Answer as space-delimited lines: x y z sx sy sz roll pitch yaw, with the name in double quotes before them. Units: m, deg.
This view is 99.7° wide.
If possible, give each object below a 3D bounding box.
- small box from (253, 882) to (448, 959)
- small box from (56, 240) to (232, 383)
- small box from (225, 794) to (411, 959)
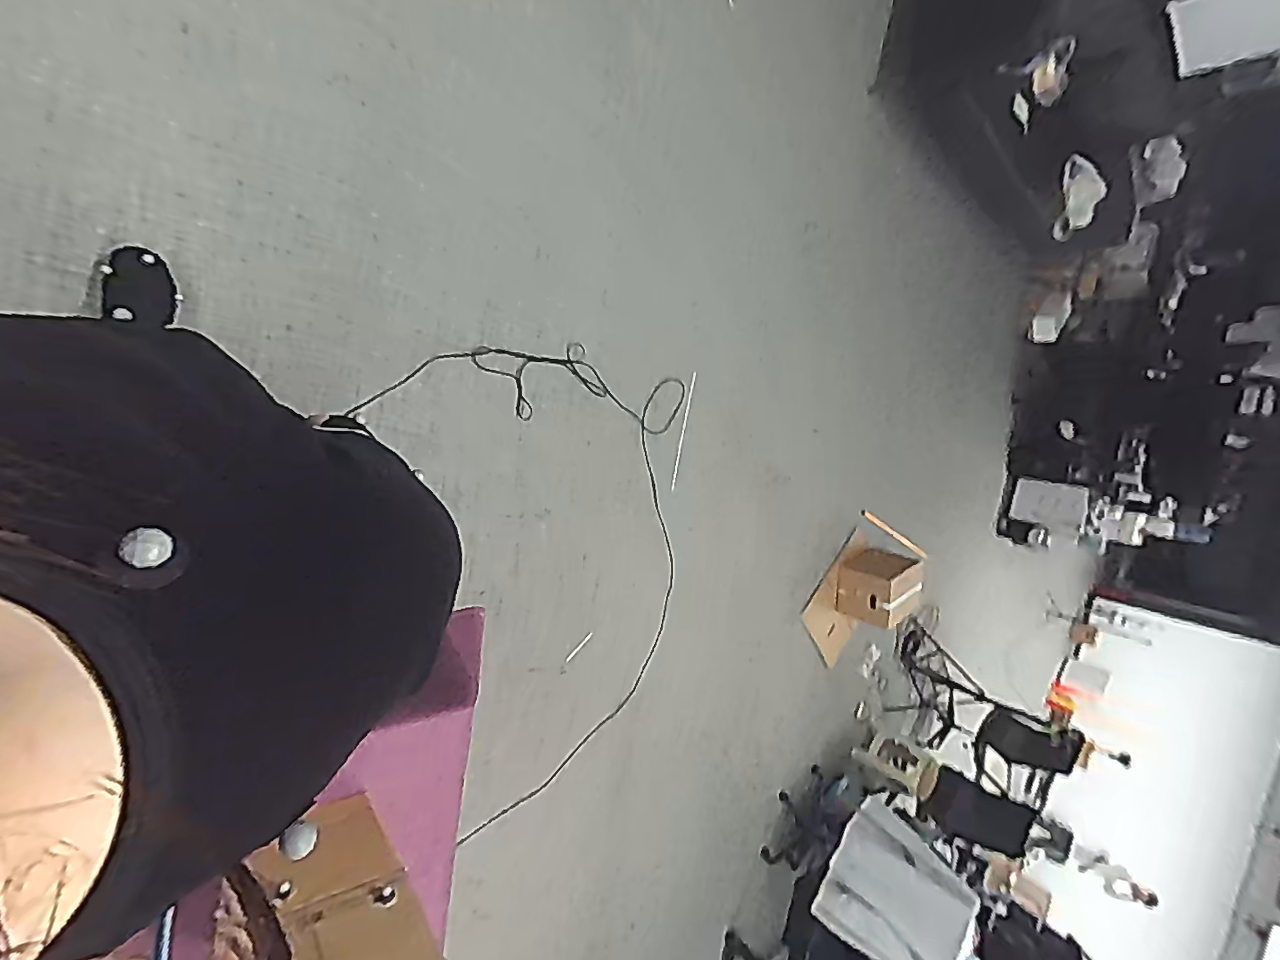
"small box" -0.325 0.594 0.595 0.168 0.176 0.179 5 99 -40
"small box" -0.936 -0.317 1.022 0.168 0.176 0.179 45 34 -14
"small box" -0.430 0.559 0.717 0.179 0.176 0.168 6 97 -40
